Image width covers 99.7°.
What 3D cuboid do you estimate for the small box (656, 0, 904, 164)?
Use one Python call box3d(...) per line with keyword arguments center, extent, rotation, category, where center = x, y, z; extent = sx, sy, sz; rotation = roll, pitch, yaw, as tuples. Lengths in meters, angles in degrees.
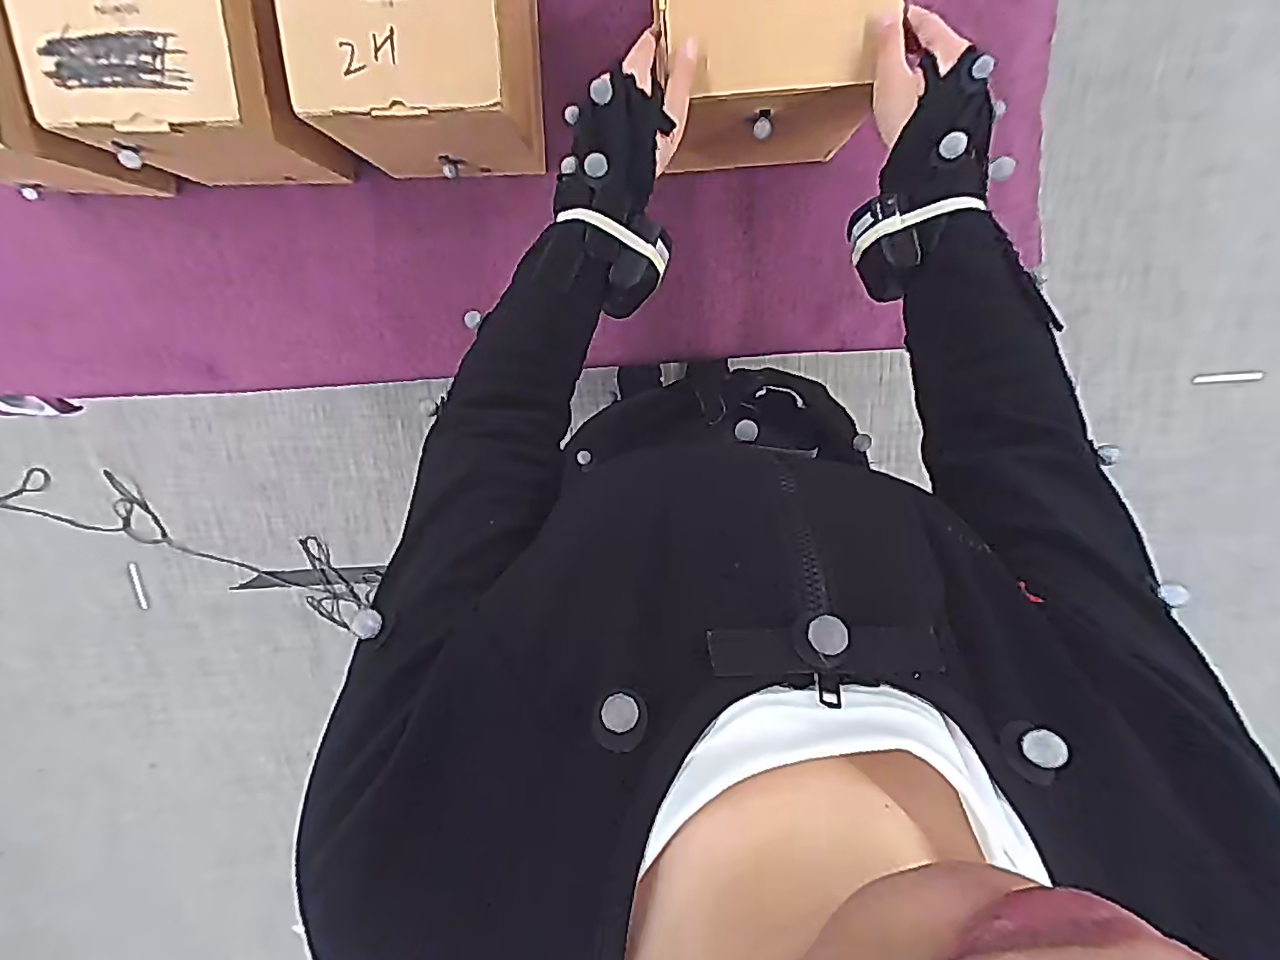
box3d(center=(0.105, -0.391, 0.463), extent=(0.179, 0.176, 0.168), rotation=(-3, 104, 4), category="small box")
